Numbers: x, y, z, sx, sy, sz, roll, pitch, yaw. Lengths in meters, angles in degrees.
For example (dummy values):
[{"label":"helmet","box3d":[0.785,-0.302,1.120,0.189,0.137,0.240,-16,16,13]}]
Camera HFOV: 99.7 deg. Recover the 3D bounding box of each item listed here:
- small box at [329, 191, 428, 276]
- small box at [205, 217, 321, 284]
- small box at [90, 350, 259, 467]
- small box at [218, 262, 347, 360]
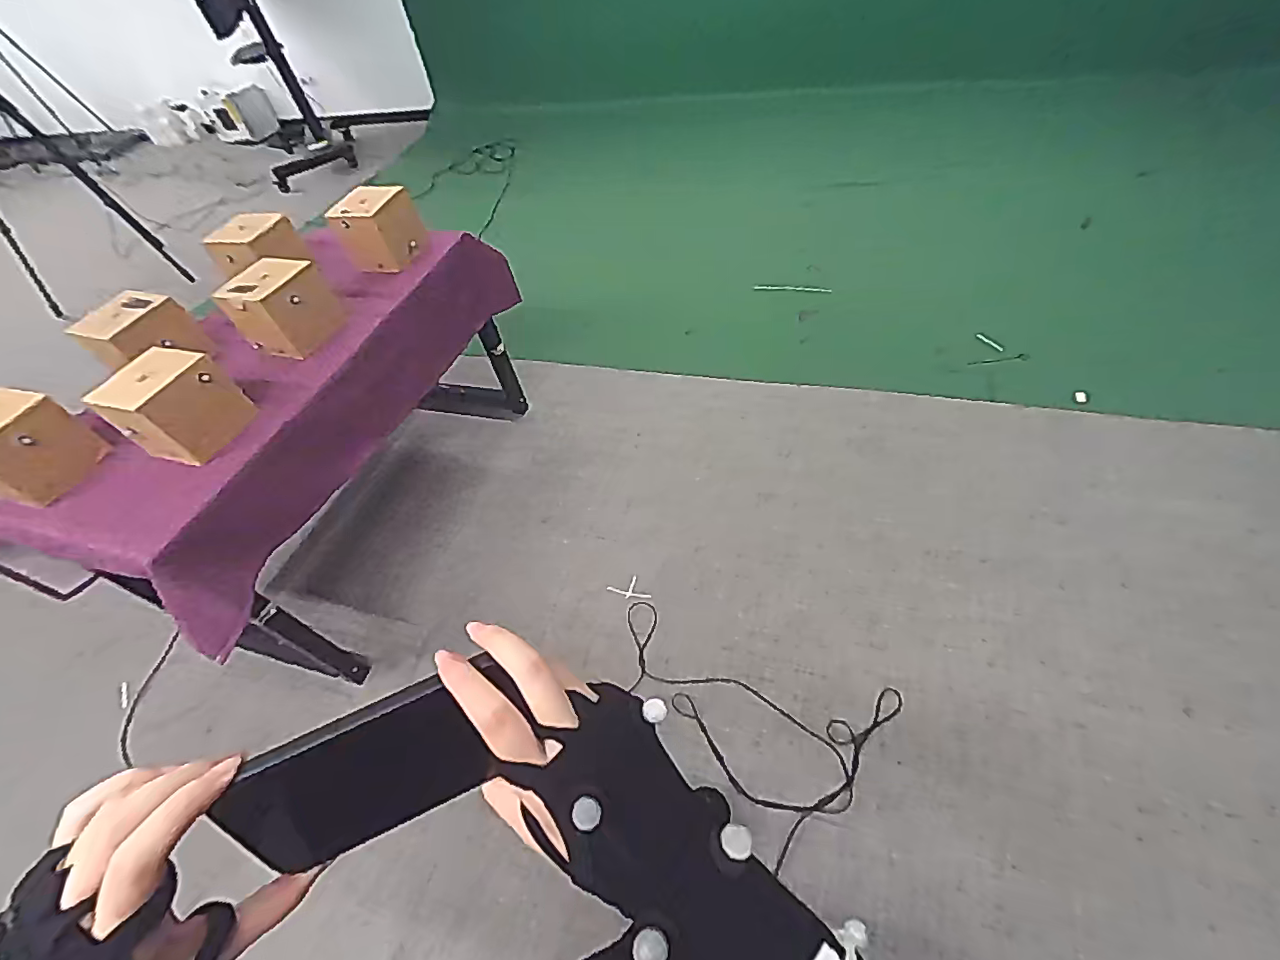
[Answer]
[{"label":"small box","box3d":[-0.745,-0.717,1.571,0.168,0.176,0.179,8,53,17]},{"label":"small box","box3d":[-1.083,-0.641,1.568,0.179,0.176,0.168,7,53,15]},{"label":"small box","box3d":[-0.973,-0.150,1.149,0.168,0.176,0.179,10,53,18]},{"label":"small box","box3d":[-0.882,-0.422,1.355,0.168,0.176,0.179,12,53,19]}]
